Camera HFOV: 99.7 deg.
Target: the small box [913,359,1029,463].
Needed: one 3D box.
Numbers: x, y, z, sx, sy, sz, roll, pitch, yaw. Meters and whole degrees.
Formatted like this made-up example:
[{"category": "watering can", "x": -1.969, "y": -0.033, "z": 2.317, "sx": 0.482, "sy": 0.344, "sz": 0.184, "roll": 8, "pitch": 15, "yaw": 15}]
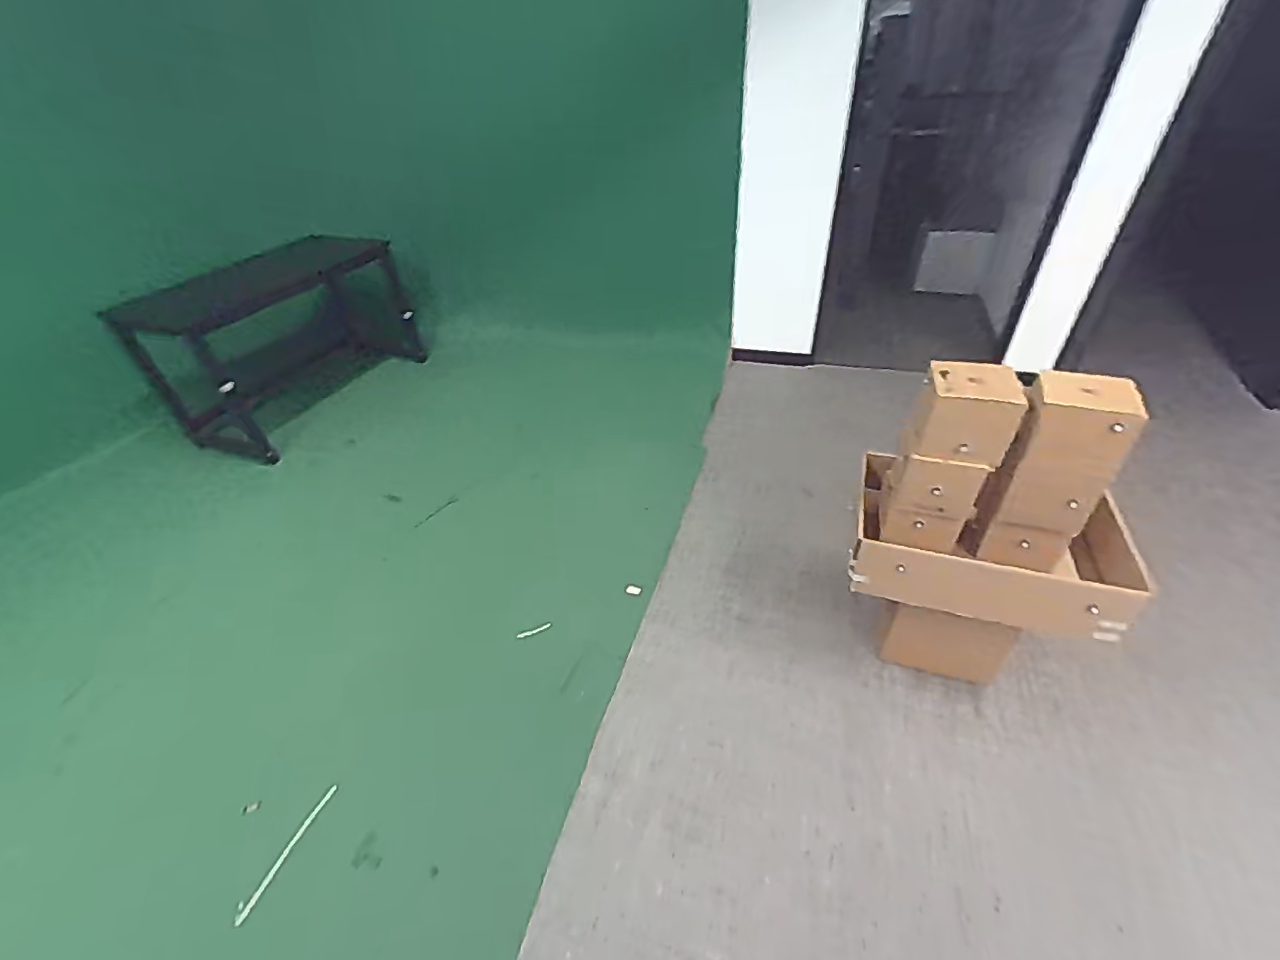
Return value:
[{"category": "small box", "x": 0.752, "y": -0.159, "z": 1.248, "sx": 0.179, "sy": 0.176, "sz": 0.168, "roll": 9, "pitch": 41, "yaw": 15}]
